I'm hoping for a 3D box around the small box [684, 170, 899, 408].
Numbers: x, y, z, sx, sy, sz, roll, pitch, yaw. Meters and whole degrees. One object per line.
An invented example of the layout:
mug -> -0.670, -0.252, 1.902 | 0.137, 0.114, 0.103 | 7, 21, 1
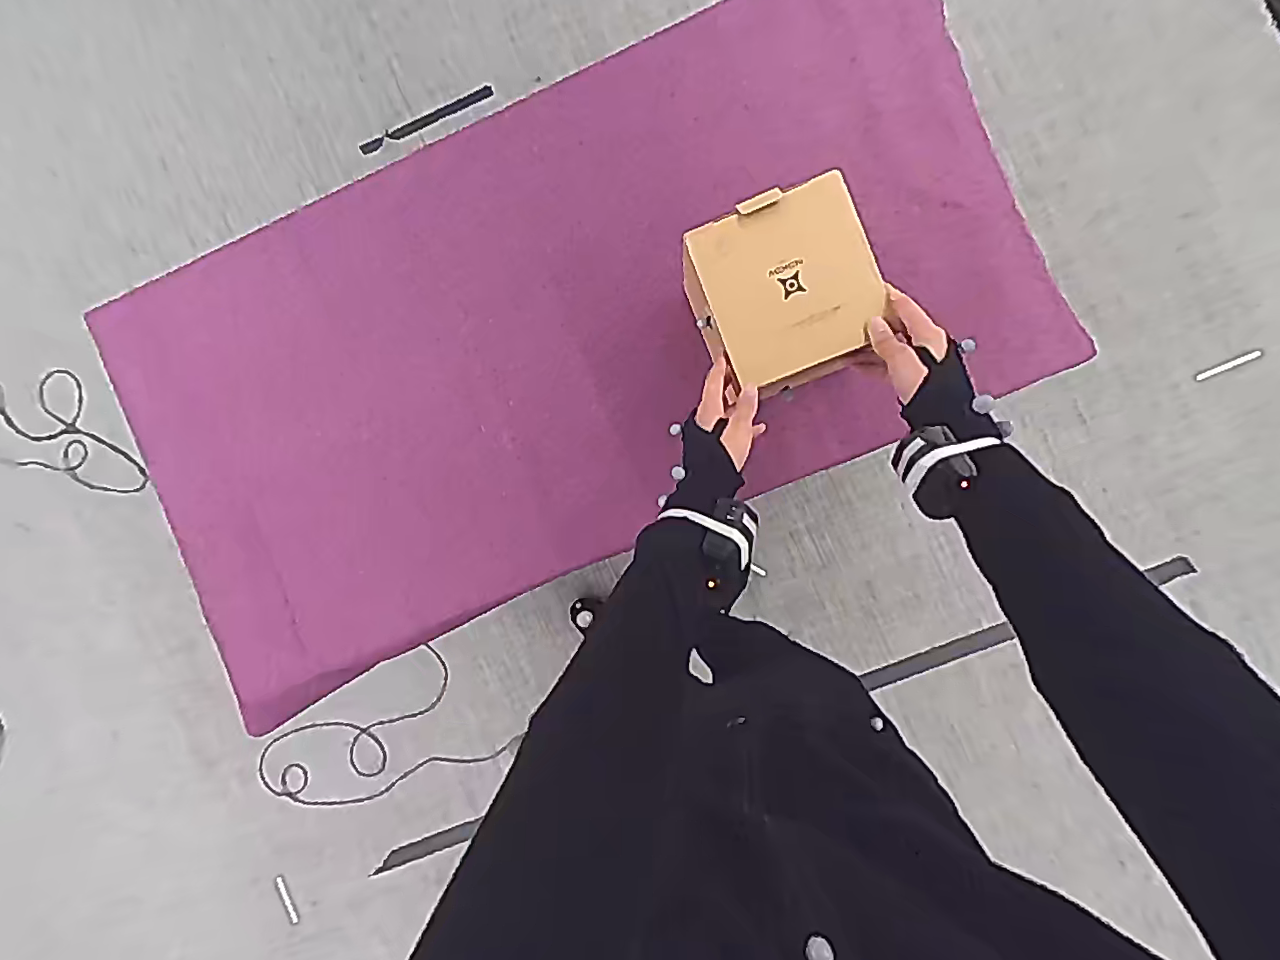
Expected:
small box -> 0.153, -0.196, 0.608 | 0.168, 0.176, 0.179 | -20, 89, 6
